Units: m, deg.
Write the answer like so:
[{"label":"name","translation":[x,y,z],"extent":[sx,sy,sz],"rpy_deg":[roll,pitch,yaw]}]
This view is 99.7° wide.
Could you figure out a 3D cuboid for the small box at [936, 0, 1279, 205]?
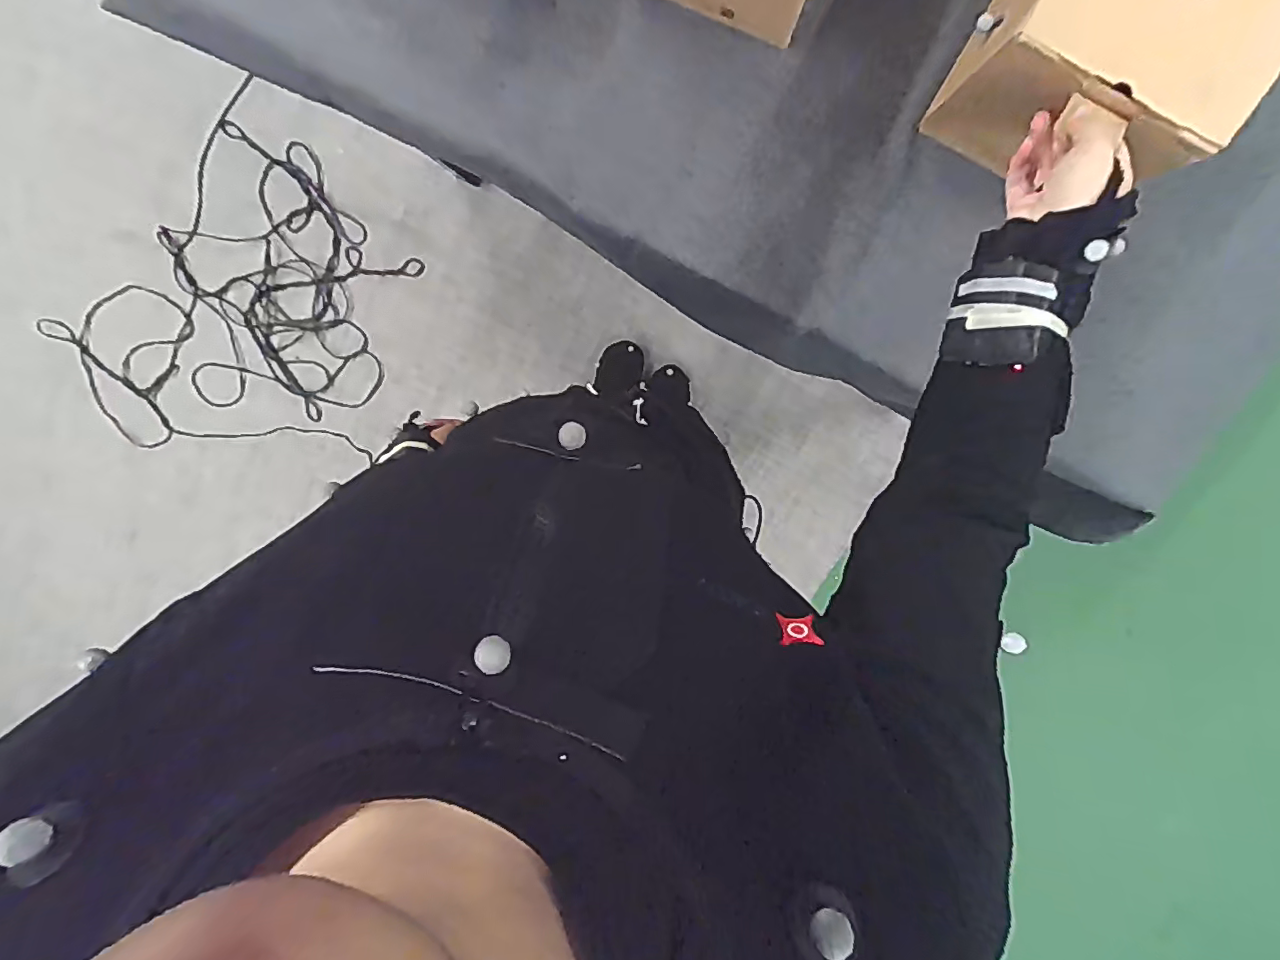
[{"label":"small box","translation":[0.374,-0.351,0.427],"extent":[0.168,0.176,0.179],"rpy_deg":[27,103,-4]}]
